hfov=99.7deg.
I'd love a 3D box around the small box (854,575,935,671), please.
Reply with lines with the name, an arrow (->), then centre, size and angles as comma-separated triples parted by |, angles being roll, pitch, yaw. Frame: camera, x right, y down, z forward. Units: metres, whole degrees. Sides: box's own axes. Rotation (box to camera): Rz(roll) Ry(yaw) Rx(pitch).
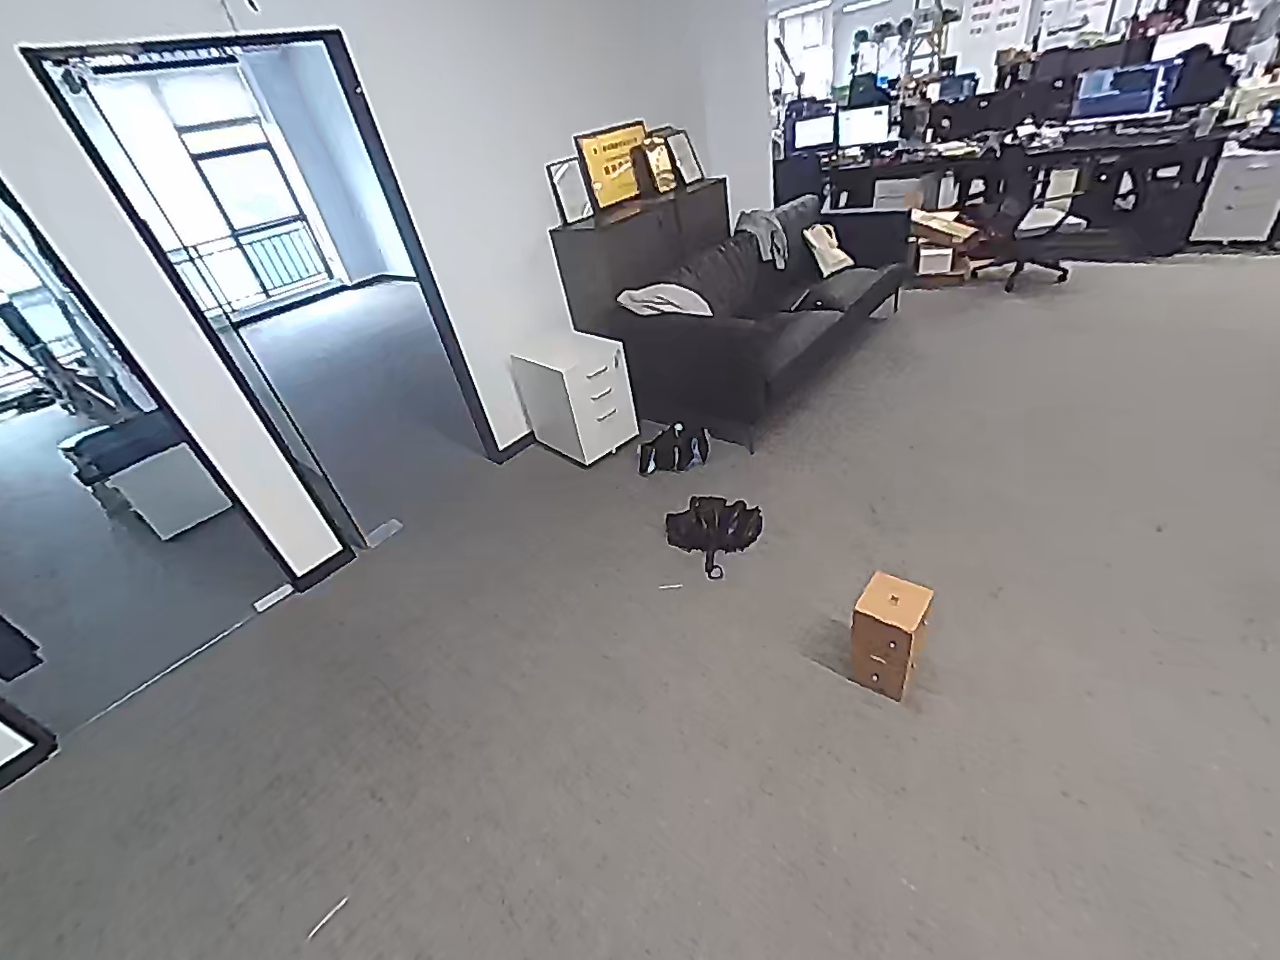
small box -> 0.737, 0.417, 1.575 | 0.168, 0.176, 0.179 | 19, 43, 36

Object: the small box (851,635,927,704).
small box -> 0.763, 0.550, 1.665 | 0.168, 0.176, 0.179 | 18, 44, 36
